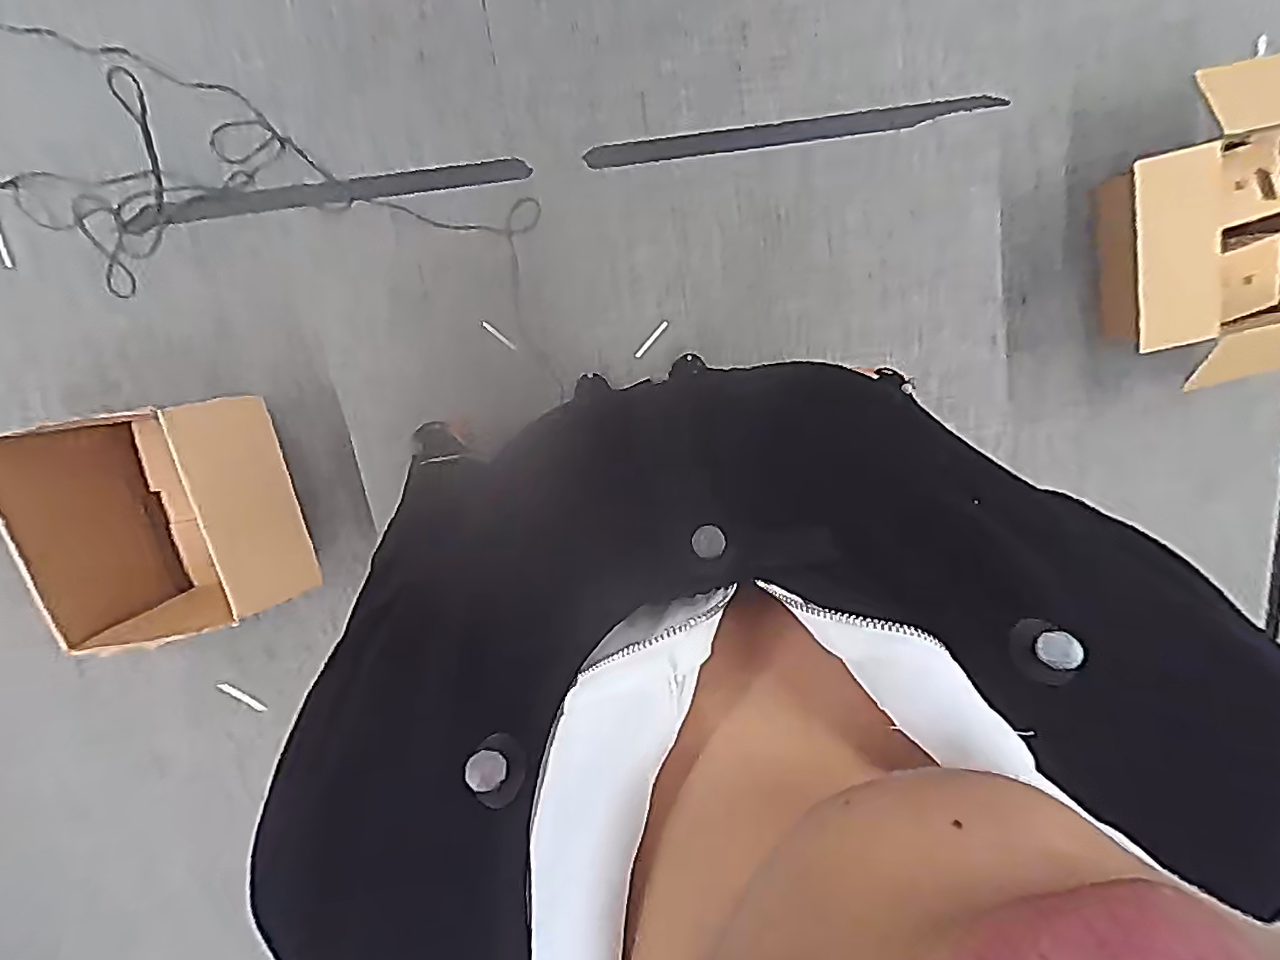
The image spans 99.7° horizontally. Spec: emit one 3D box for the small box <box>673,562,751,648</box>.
[{"bbox_3d":[0.188,0.327,1.450,0.179,0.176,0.168,-7,100,1],"label":"small box"}]
